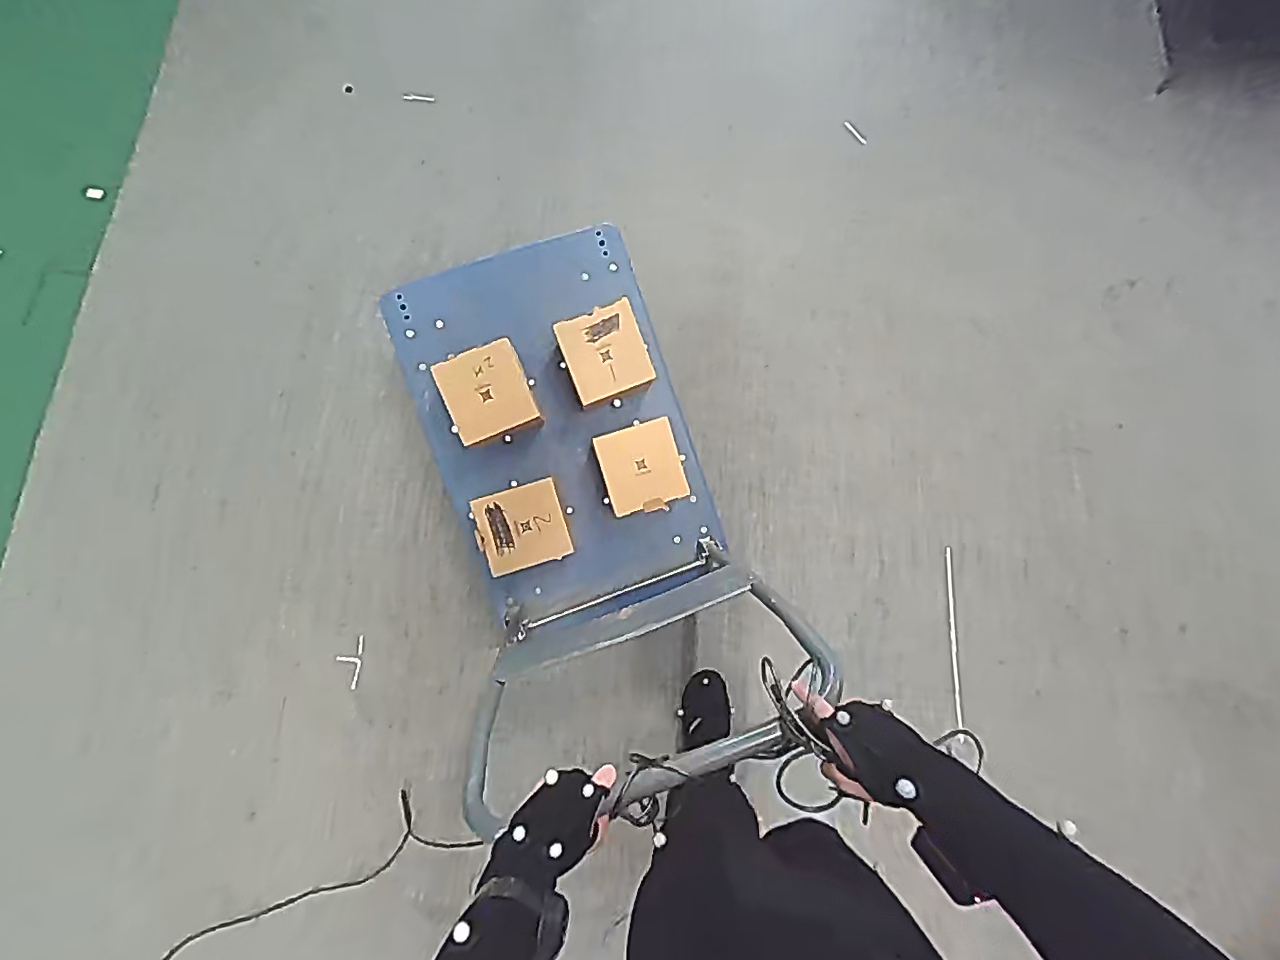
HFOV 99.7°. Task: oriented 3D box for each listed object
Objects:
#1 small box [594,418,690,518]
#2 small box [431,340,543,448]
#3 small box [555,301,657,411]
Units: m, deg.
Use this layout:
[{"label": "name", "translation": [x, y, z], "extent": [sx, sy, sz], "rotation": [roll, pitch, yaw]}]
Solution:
[{"label": "small box", "translation": [-0.003, -0.027, 1.199], "extent": [0.168, 0.176, 0.179], "rotation": [-17, 93, -3]}, {"label": "small box", "translation": [-0.318, -0.178, 1.167], "extent": [0.168, 0.176, 0.179], "rotation": [-22, 94, -4]}, {"label": "small box", "translation": [-0.077, -0.262, 1.182], "extent": [0.168, 0.176, 0.179], "rotation": [-21, 94, -3]}]
